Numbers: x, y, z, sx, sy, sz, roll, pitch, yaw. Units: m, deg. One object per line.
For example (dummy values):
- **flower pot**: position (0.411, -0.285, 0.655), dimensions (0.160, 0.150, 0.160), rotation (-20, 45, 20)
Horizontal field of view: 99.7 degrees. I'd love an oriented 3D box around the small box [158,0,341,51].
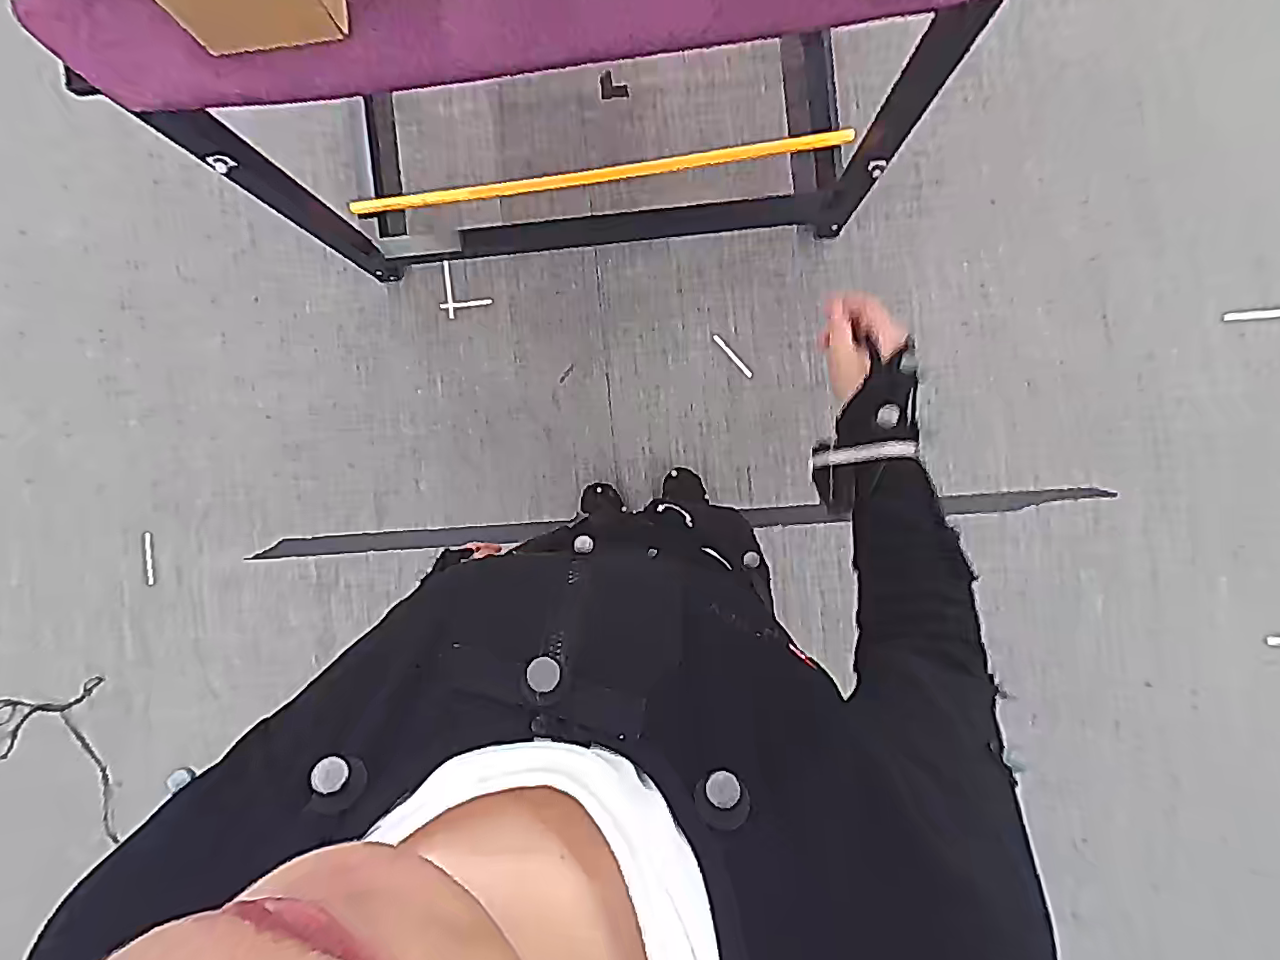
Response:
- **small box**: position (-0.464, -0.617, 0.593), dimensions (0.179, 0.176, 0.168), rotation (-6, 89, 2)
